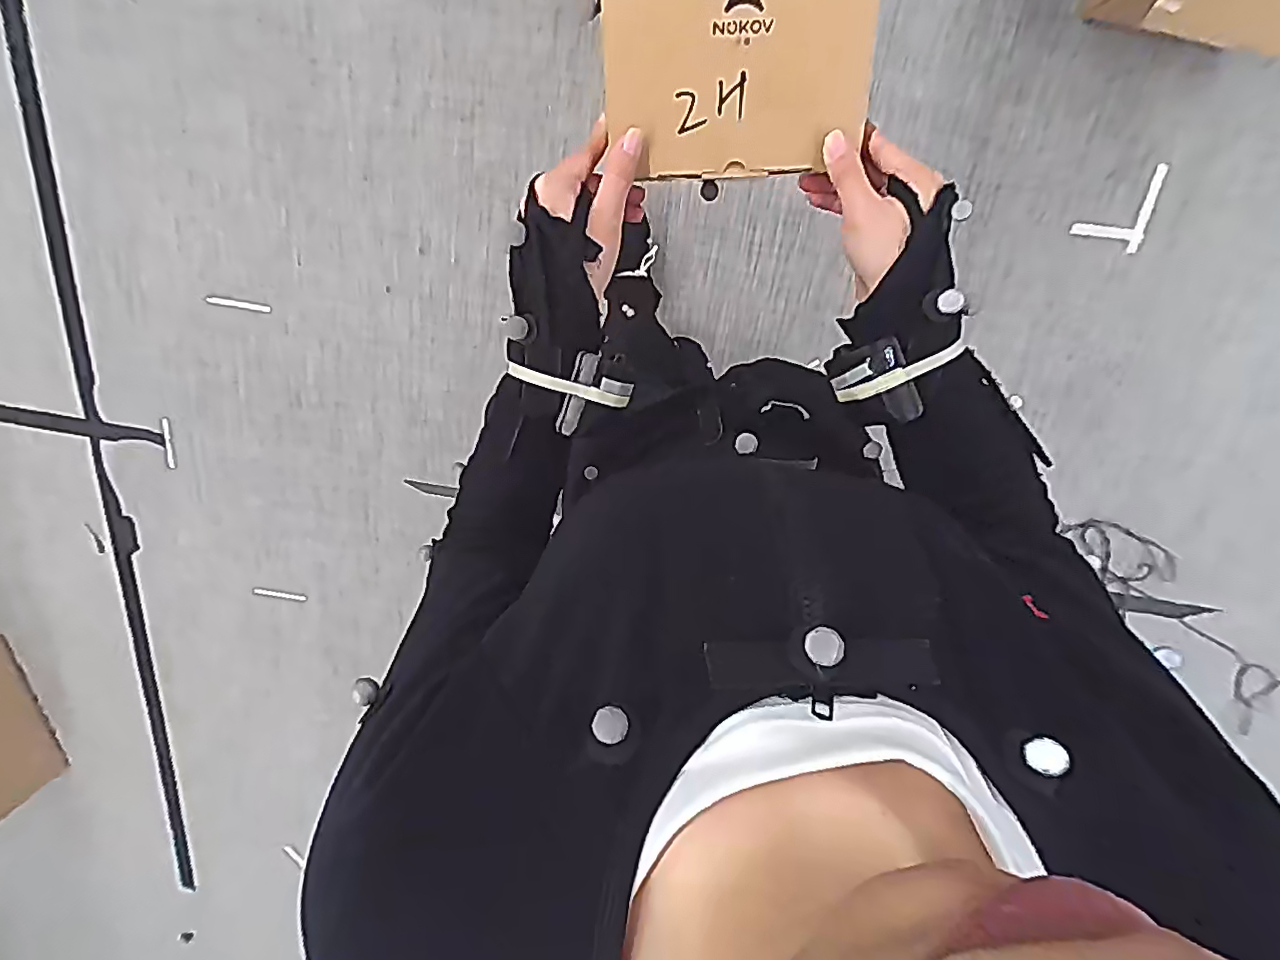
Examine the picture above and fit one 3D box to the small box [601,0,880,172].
[{"bbox_3d":[0.056,-0.323,0.383,0.168,0.176,0.179,-2,119,0],"label":"small box"}]
